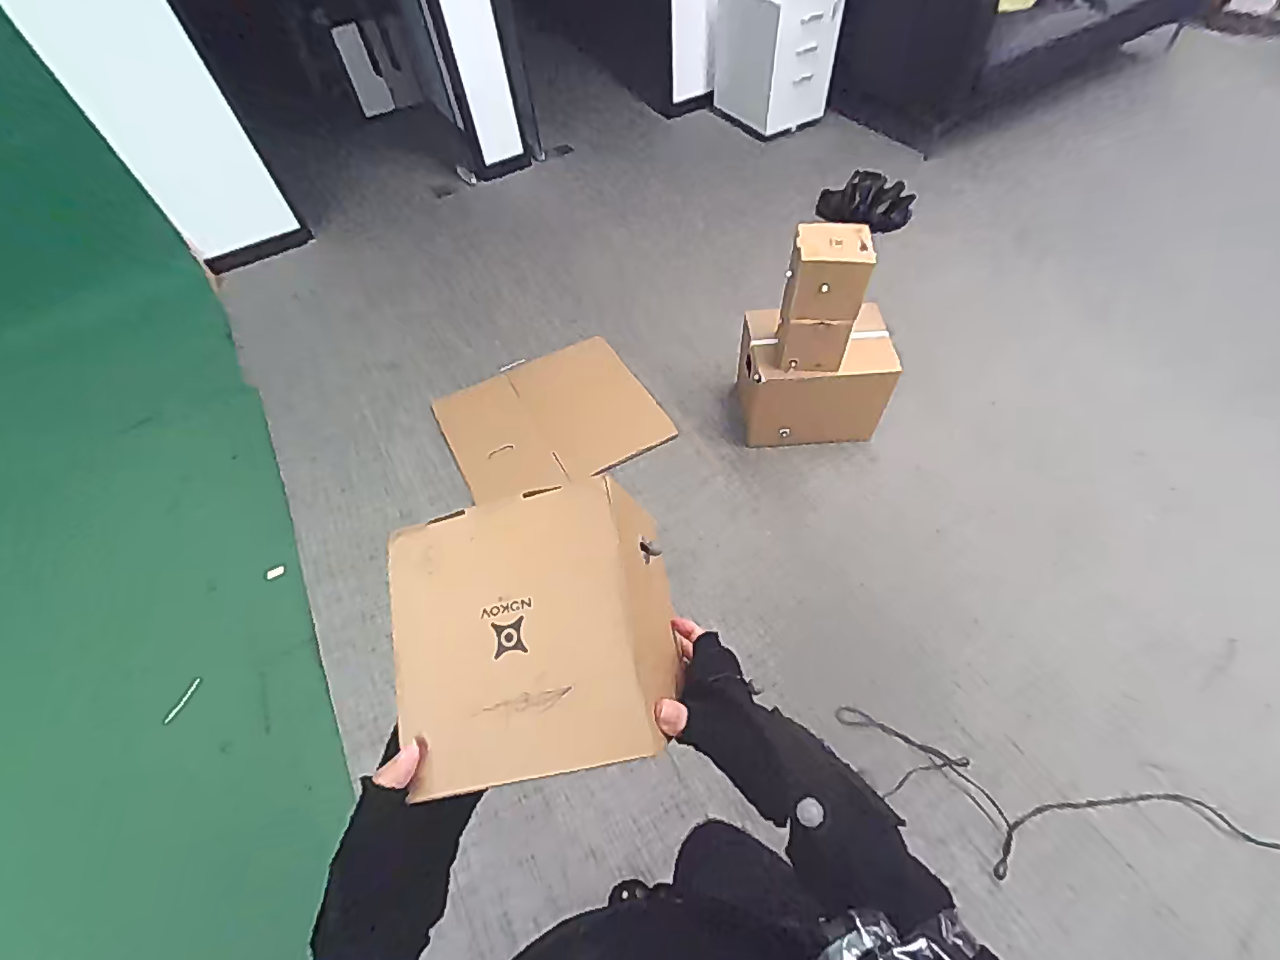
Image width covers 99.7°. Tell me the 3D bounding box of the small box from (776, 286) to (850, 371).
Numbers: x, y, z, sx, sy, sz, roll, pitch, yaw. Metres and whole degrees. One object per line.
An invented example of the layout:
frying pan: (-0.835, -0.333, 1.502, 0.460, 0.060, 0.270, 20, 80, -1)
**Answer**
small box: (0.478, -0.422, 1.517, 0.168, 0.176, 0.179, 2, 55, 6)

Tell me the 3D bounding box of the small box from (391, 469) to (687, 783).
small box: (-0.068, 0.113, 0.428, 0.168, 0.176, 0.179, -16, 72, 10)

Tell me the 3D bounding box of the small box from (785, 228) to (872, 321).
small box: (0.474, -0.525, 1.393, 0.179, 0.176, 0.168, 2, 53, 5)
